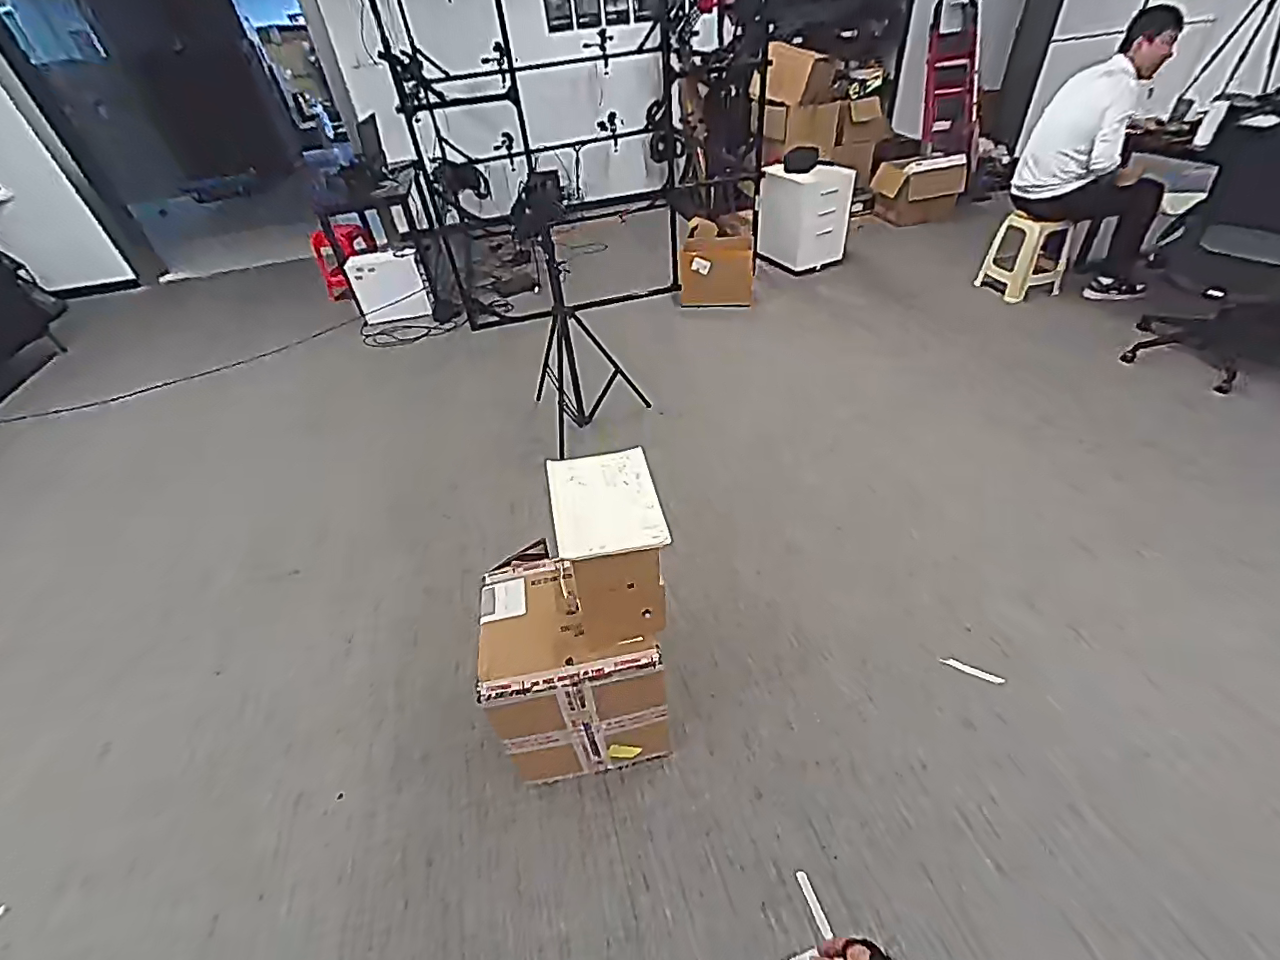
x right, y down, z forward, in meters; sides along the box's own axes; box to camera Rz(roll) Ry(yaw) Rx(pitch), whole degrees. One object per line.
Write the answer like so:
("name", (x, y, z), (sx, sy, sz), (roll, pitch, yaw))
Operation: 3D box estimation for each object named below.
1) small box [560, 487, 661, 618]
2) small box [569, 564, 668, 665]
("small box", (-0.059, 0.142, 1.071), (0.168, 0.176, 0.179), (-11, 42, -9))
("small box", (-0.046, 0.270, 1.172), (0.179, 0.176, 0.168), (-14, 42, -10))
